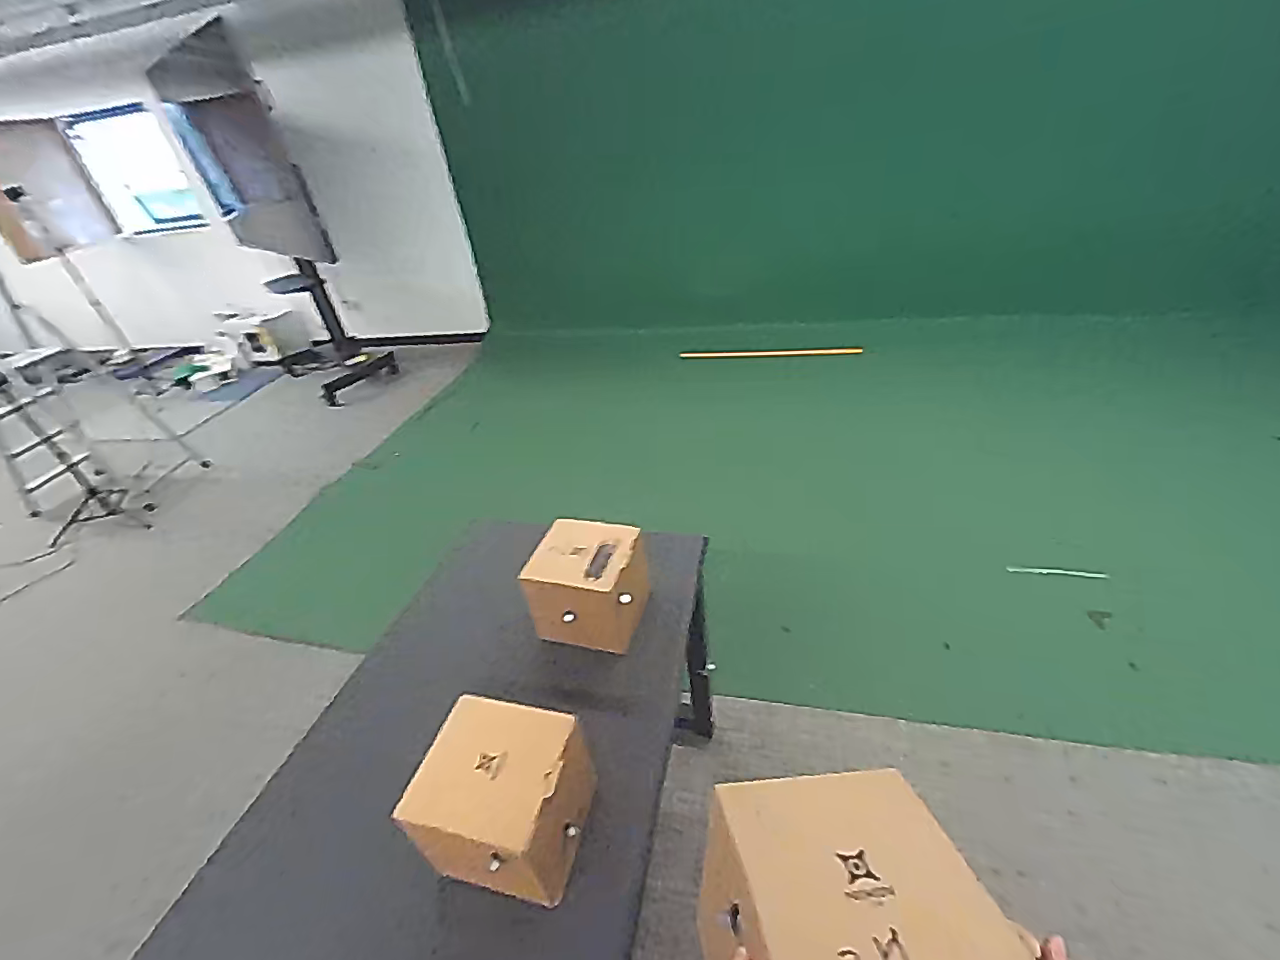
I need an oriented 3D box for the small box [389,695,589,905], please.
[{"bbox_3d":[-0.181,0.414,0.706,0.179,0.176,0.168,4,35,15],"label":"small box"}]
